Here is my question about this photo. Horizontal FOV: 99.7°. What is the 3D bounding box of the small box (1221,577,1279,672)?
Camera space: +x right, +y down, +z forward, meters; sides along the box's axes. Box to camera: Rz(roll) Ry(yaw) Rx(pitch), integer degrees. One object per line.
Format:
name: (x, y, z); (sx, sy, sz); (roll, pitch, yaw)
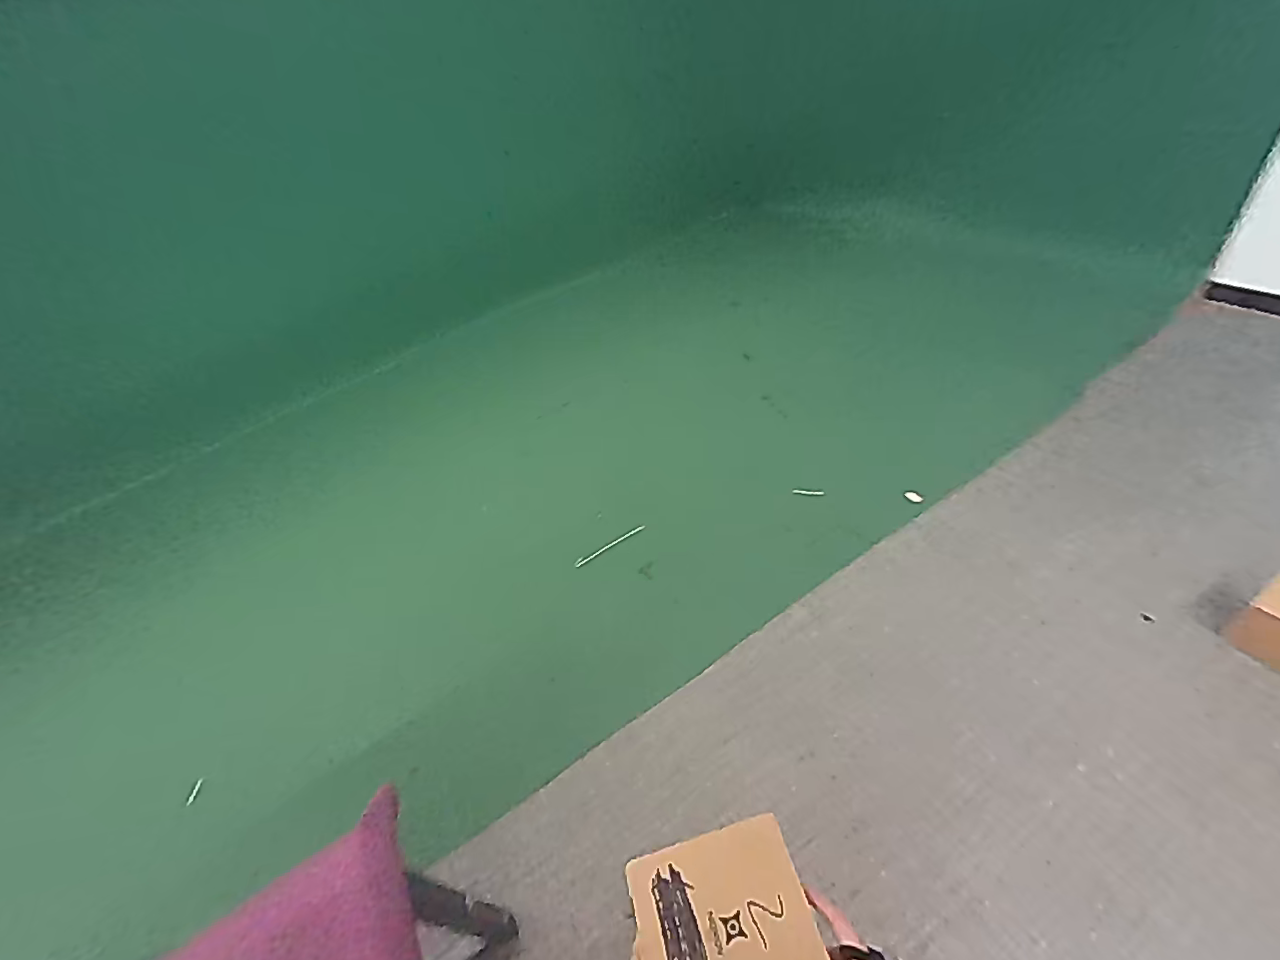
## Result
small box: (1.668, 0.376, 1.377); (0.168, 0.176, 0.179); (-30, 44, -15)
